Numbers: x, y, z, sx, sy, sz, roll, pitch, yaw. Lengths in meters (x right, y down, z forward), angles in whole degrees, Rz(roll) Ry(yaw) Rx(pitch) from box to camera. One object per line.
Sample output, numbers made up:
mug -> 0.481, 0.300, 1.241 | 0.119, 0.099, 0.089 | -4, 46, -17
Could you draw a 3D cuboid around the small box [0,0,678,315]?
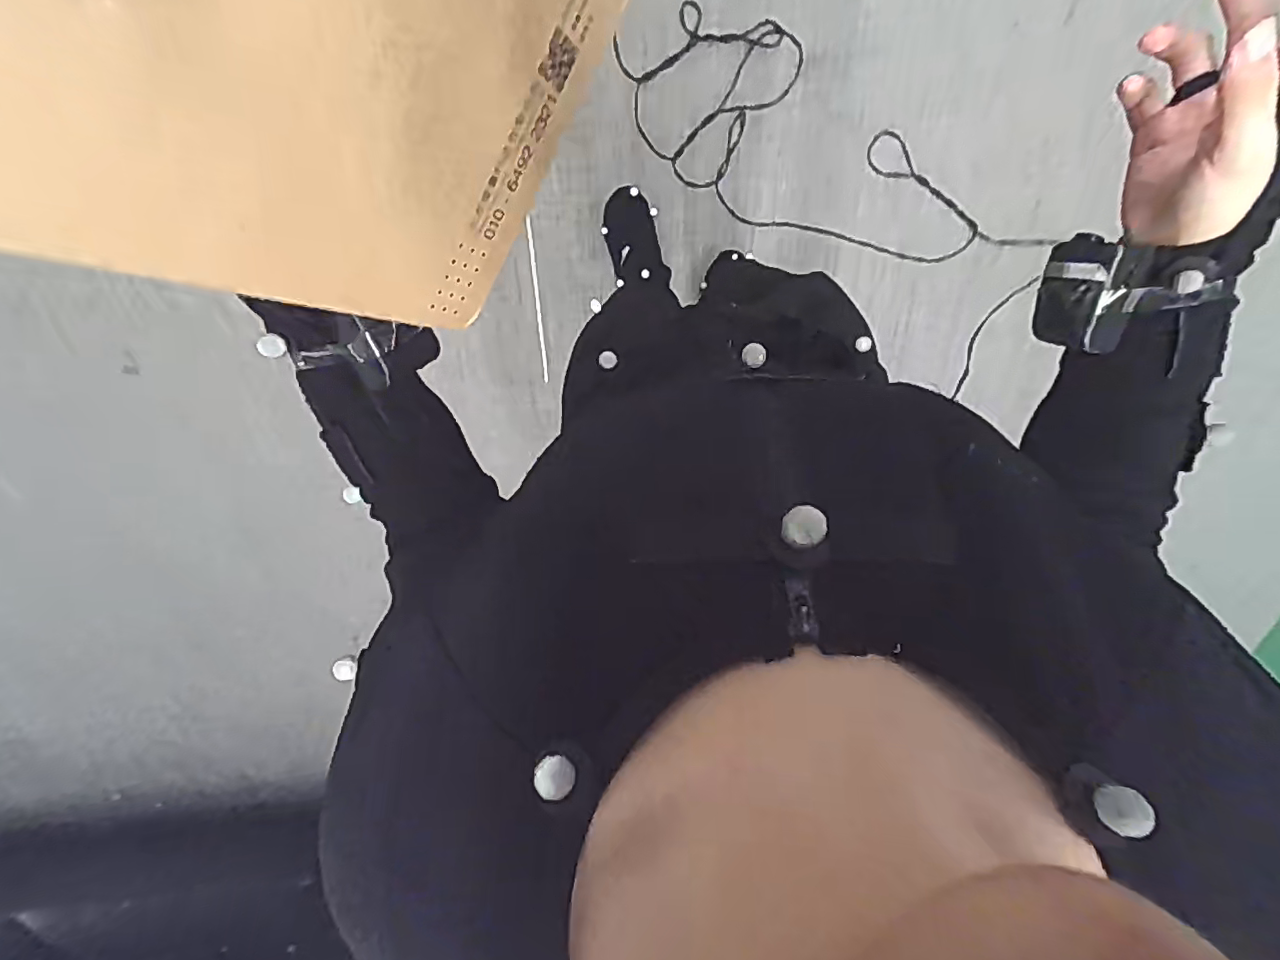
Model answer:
small box -> -0.115, -0.168, 0.160 | 0.179, 0.176, 0.168 | 39, 110, 13
